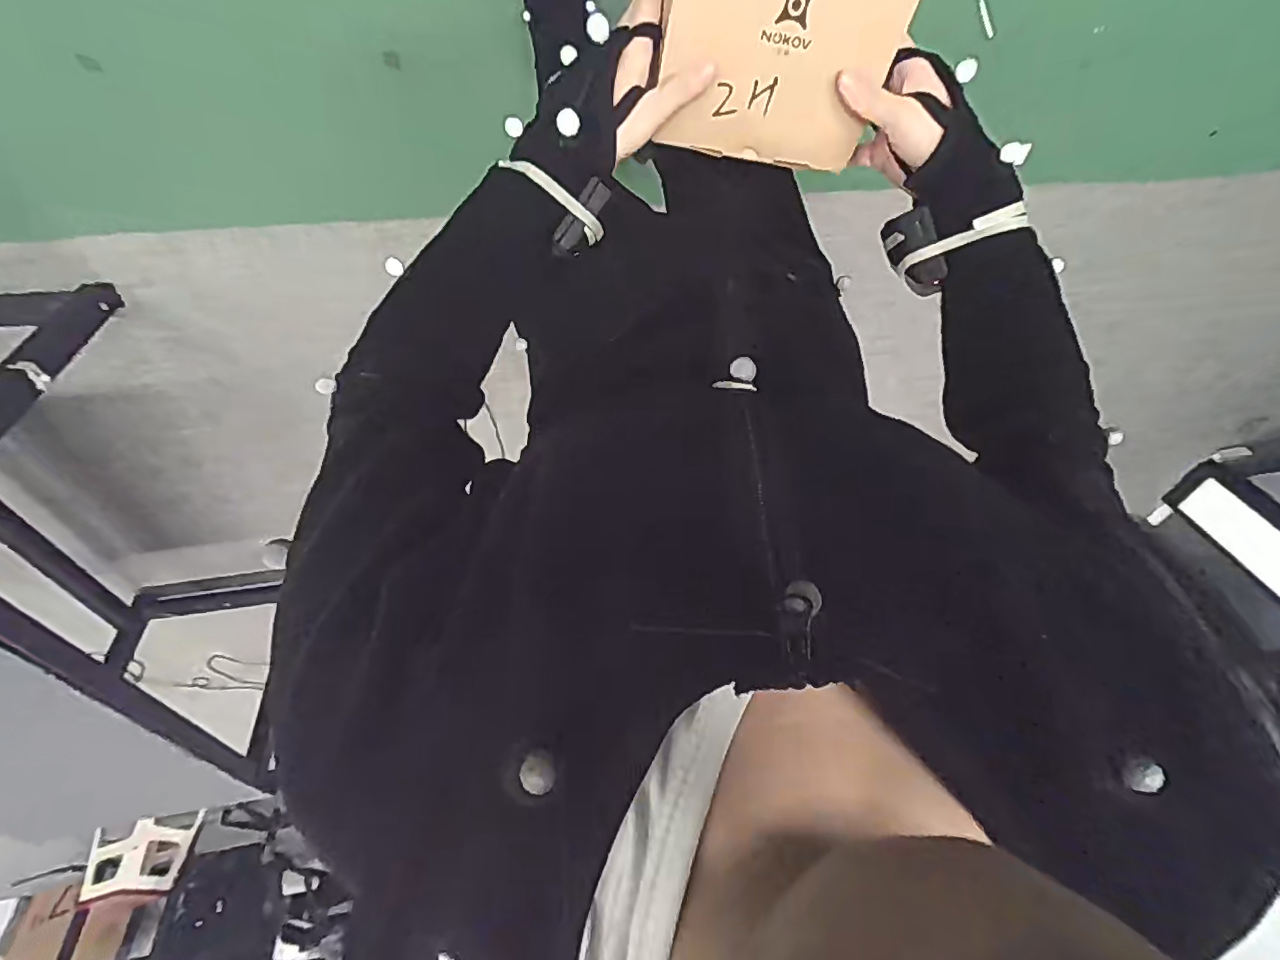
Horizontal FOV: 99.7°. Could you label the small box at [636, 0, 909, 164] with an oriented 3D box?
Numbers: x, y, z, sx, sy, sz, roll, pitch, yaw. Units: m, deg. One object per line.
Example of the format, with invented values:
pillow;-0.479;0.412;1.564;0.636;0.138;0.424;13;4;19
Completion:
small box;0.092;-0.378;0.409;0.168;0.176;0.179;3;143;-10
